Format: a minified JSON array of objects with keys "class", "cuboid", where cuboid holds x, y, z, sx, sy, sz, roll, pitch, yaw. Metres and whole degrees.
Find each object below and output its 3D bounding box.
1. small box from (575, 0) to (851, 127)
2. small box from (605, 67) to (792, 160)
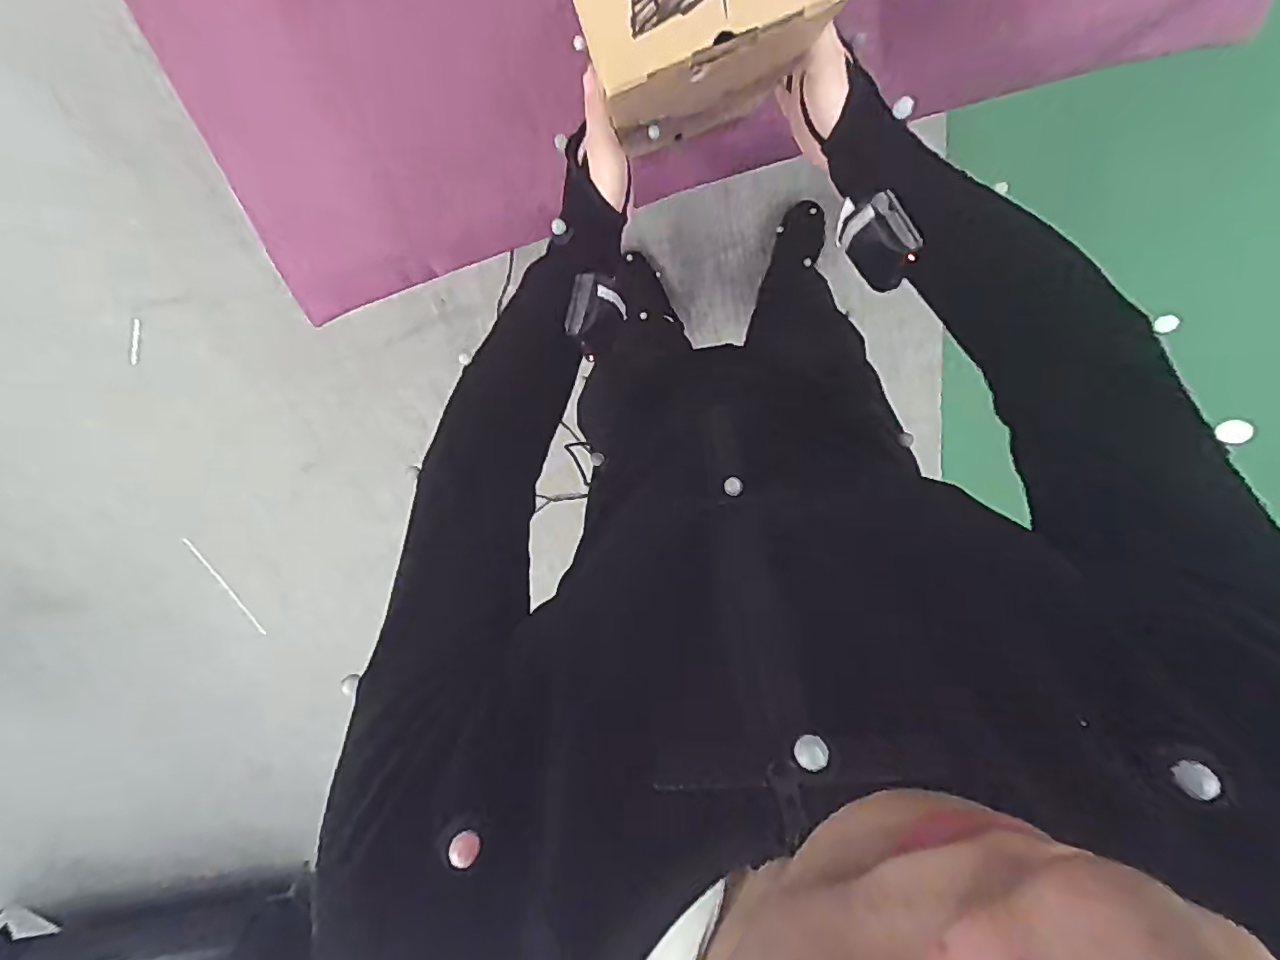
[{"class":"small box","cuboid":[0.031,-0.376,0.380,0.168,0.176,0.179,-17,112,8]},{"class":"small box","cuboid":[0.032,-0.444,0.530,0.168,0.176,0.179,-17,113,8]}]
